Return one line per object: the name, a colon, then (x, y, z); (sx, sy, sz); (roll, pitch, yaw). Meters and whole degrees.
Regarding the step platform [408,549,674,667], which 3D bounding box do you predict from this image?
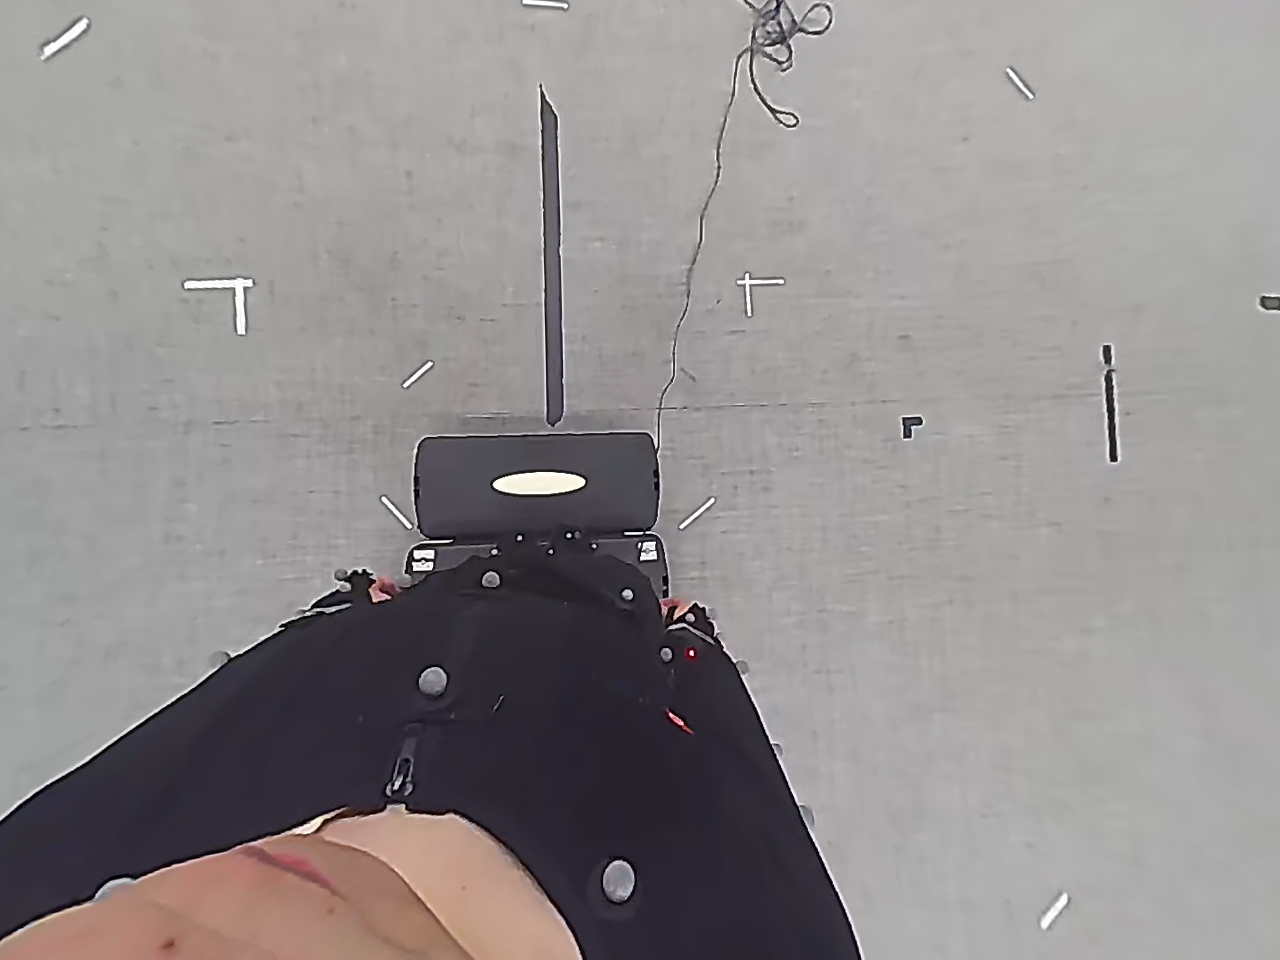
step platform: (-0.251, 0.339, 1.450); (0.684, 0.204, 0.286); (3, 84, -5)
